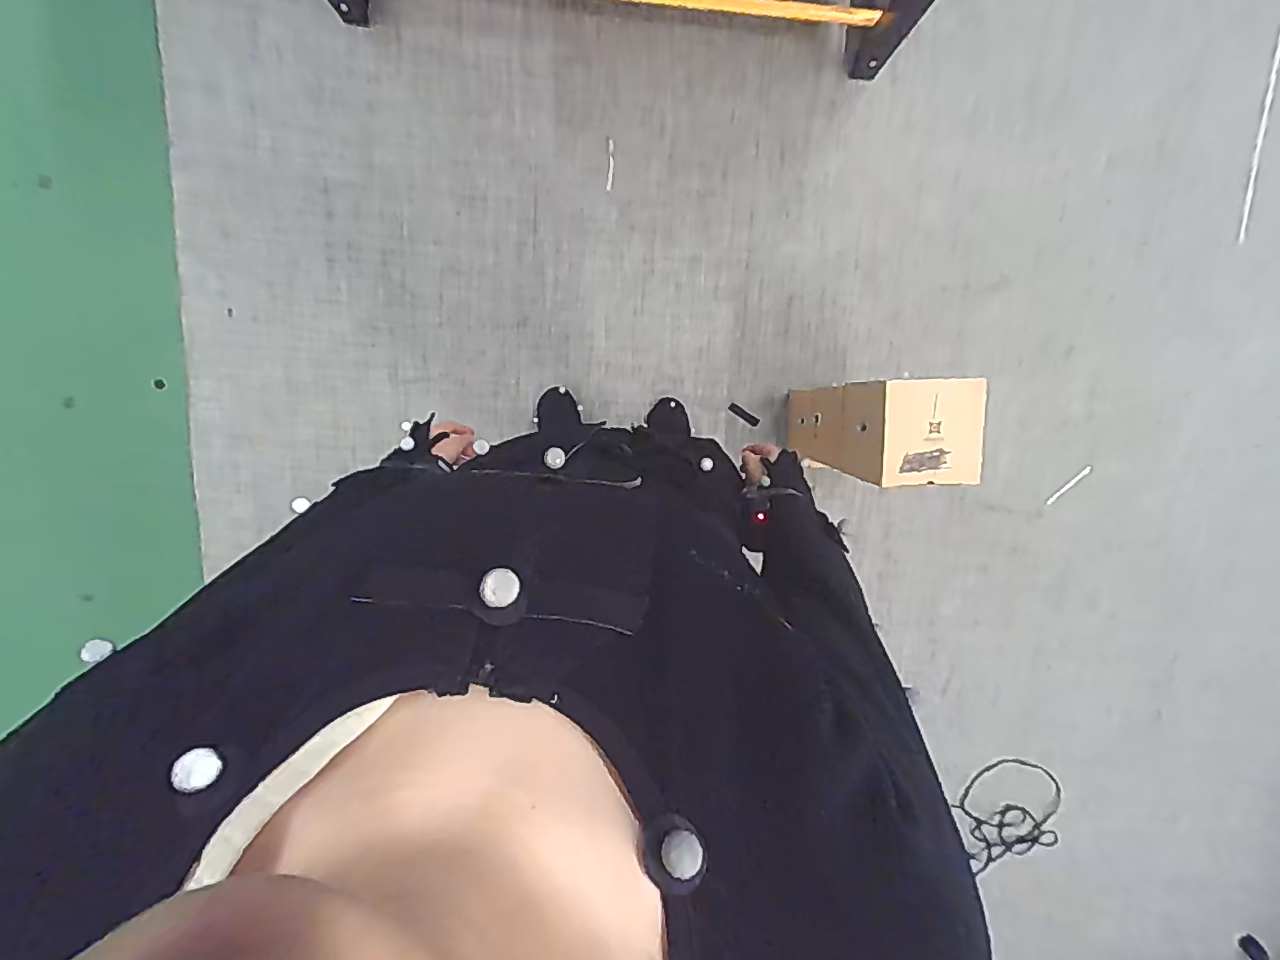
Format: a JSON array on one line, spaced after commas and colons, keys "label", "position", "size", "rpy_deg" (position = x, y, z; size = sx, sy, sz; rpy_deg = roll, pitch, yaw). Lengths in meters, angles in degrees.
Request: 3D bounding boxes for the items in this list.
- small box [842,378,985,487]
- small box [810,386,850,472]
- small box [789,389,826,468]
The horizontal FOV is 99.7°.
[{"label": "small box", "position": [0.469, -0.088, 0.952], "size": [0.168, 0.176, 0.179], "rpy_deg": [-2, 97, -1]}, {"label": "small box", "position": [0.466, -0.110, 1.115], "size": [0.179, 0.176, 0.168], "rpy_deg": [-3, 98, 0]}, {"label": "small box", "position": [0.456, -0.126, 1.278], "size": [0.168, 0.176, 0.179], "rpy_deg": [-2, 99, -1]}]
